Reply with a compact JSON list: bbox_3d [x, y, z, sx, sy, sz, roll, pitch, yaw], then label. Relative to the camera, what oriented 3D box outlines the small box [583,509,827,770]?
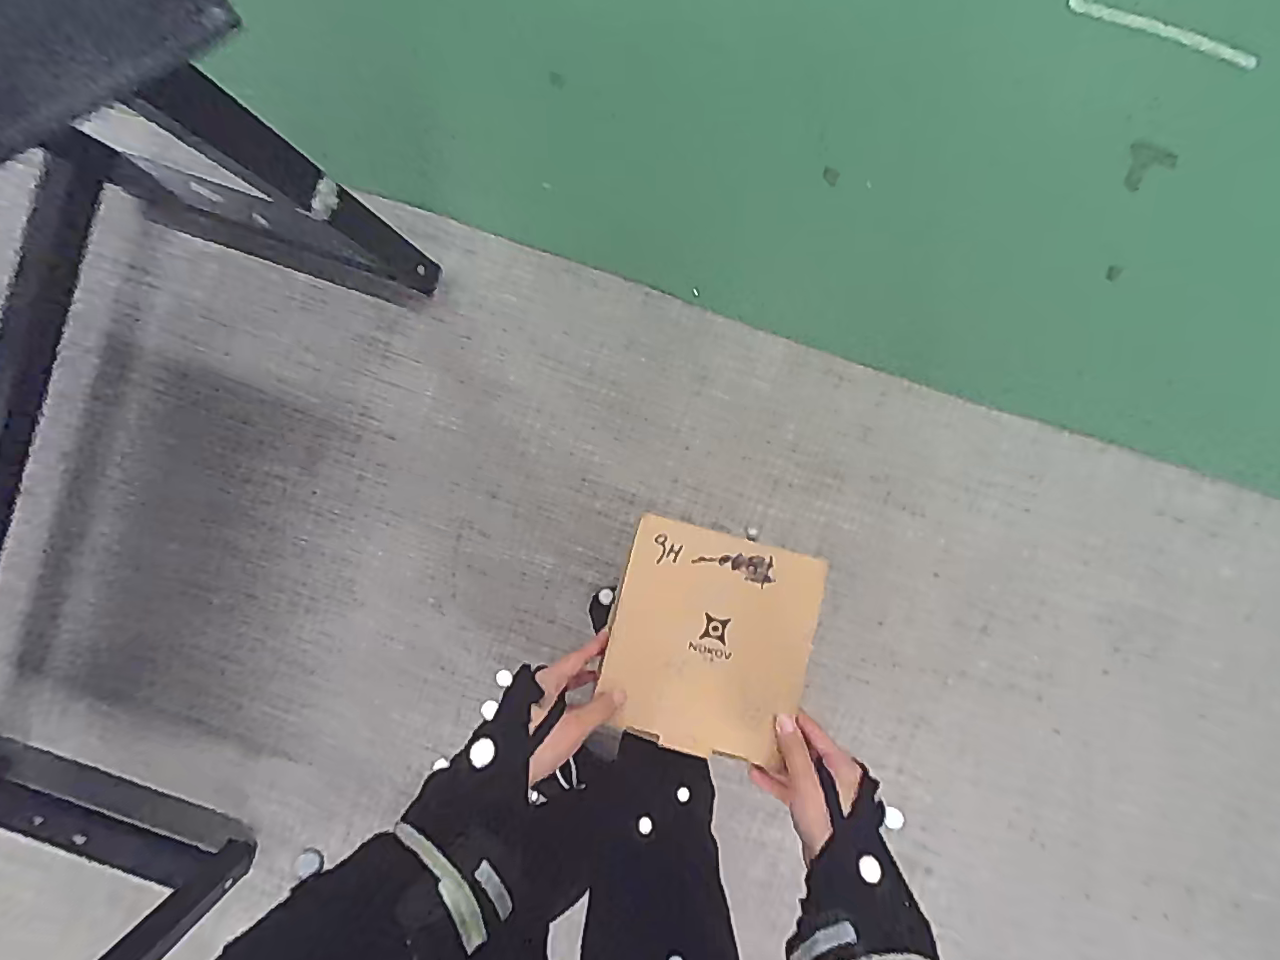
[{"bbox_3d":[0.053,0.135,0.514,0.168,0.176,0.179,15,84,-1],"label":"small box"}]
